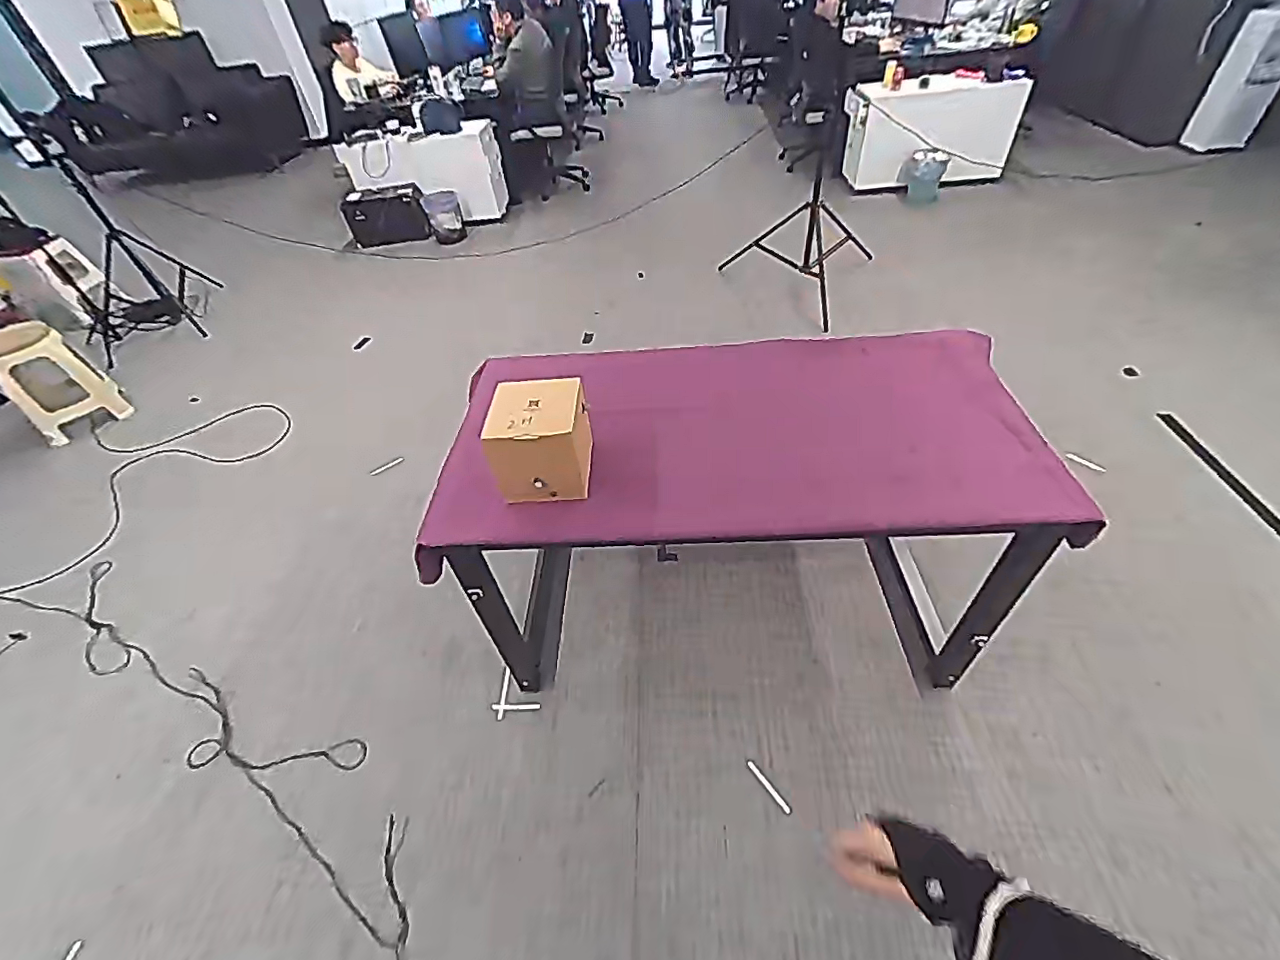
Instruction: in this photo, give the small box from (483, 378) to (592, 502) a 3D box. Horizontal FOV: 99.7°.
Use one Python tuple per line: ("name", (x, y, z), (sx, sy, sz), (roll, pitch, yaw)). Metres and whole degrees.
("small box", (-0.188, -0.077, 1.056), (0.168, 0.176, 0.179), (-4, 45, 4))
